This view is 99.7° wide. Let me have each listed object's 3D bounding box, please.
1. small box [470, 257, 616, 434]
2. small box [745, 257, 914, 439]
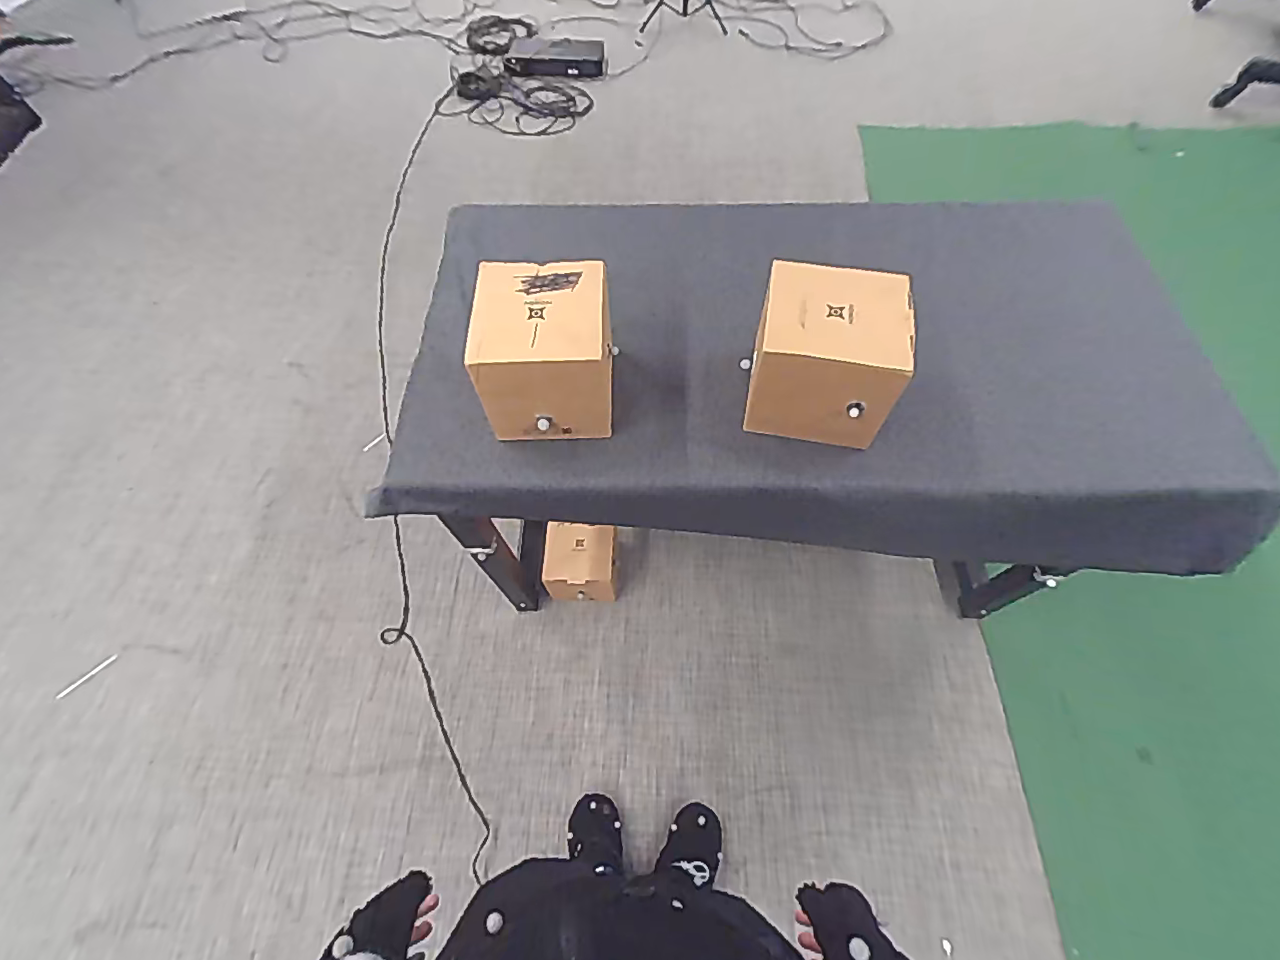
[{"bbox_3d":[-0.121,-0.181,0.747,0.168,0.176,0.179,-2,61,0],"label":"small box"},{"bbox_3d":[0.249,-0.174,0.740,0.179,0.176,0.168,8,61,7],"label":"small box"}]
